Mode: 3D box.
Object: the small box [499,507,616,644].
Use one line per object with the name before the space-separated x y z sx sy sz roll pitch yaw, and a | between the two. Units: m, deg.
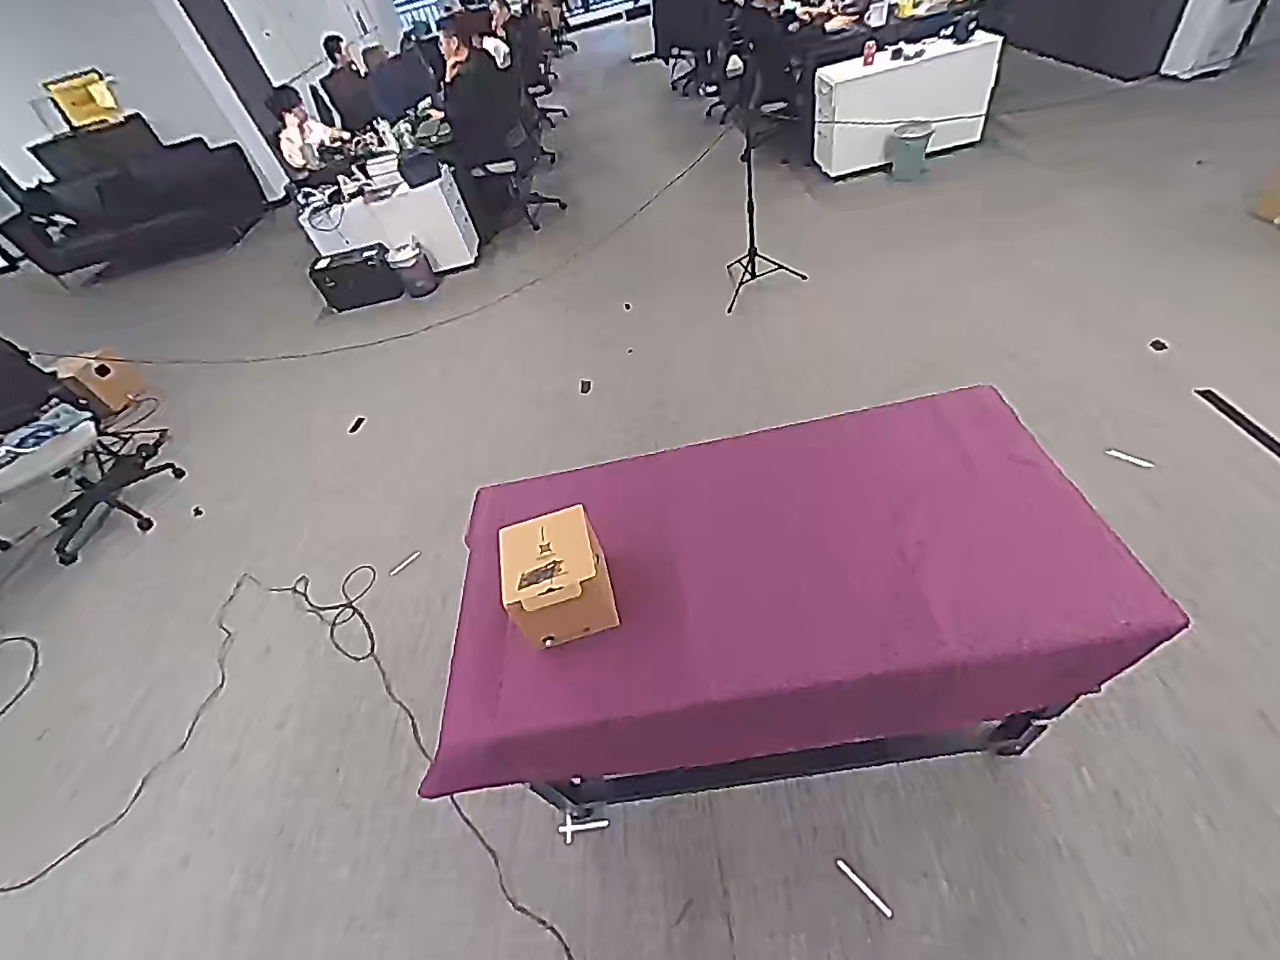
small box | -0.152 0.186 1.015 0.168 0.176 0.179 -17 45 -1
